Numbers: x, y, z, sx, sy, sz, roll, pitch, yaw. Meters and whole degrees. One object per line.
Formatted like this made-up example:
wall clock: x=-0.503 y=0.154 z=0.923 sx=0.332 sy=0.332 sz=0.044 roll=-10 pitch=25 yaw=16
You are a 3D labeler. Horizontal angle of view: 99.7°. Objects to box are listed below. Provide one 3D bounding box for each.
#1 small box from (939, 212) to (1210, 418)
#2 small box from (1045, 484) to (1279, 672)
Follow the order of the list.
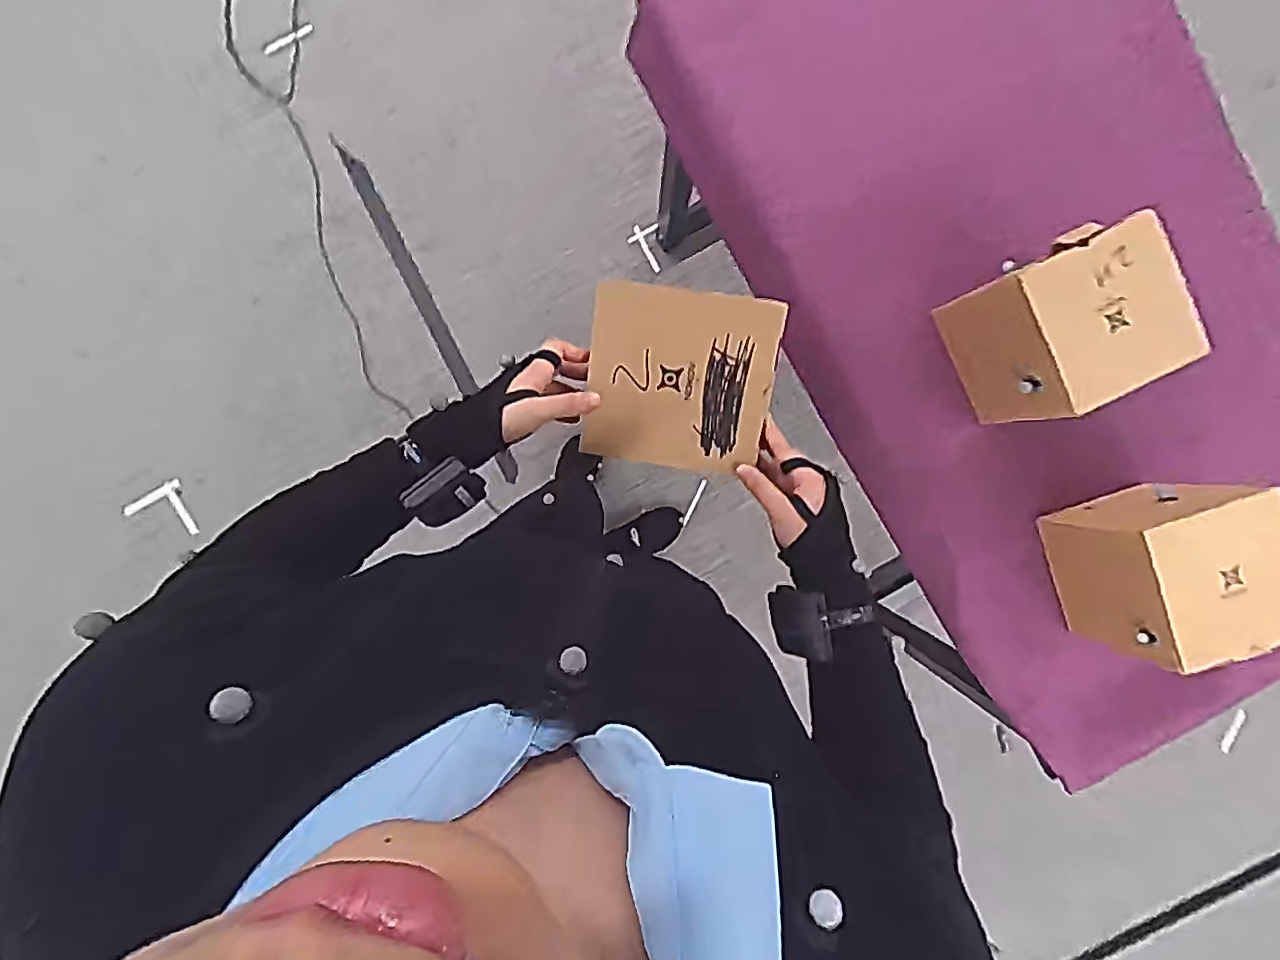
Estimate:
small box: x=0.519 y=-0.186 z=0.673 sx=0.168 sy=0.176 sz=0.179 roll=-26 pitch=92 yaw=0
small box: x=0.665 y=0.109 z=0.685 sx=0.168 sy=0.176 sz=0.179 roll=-18 pitch=92 yaw=0
